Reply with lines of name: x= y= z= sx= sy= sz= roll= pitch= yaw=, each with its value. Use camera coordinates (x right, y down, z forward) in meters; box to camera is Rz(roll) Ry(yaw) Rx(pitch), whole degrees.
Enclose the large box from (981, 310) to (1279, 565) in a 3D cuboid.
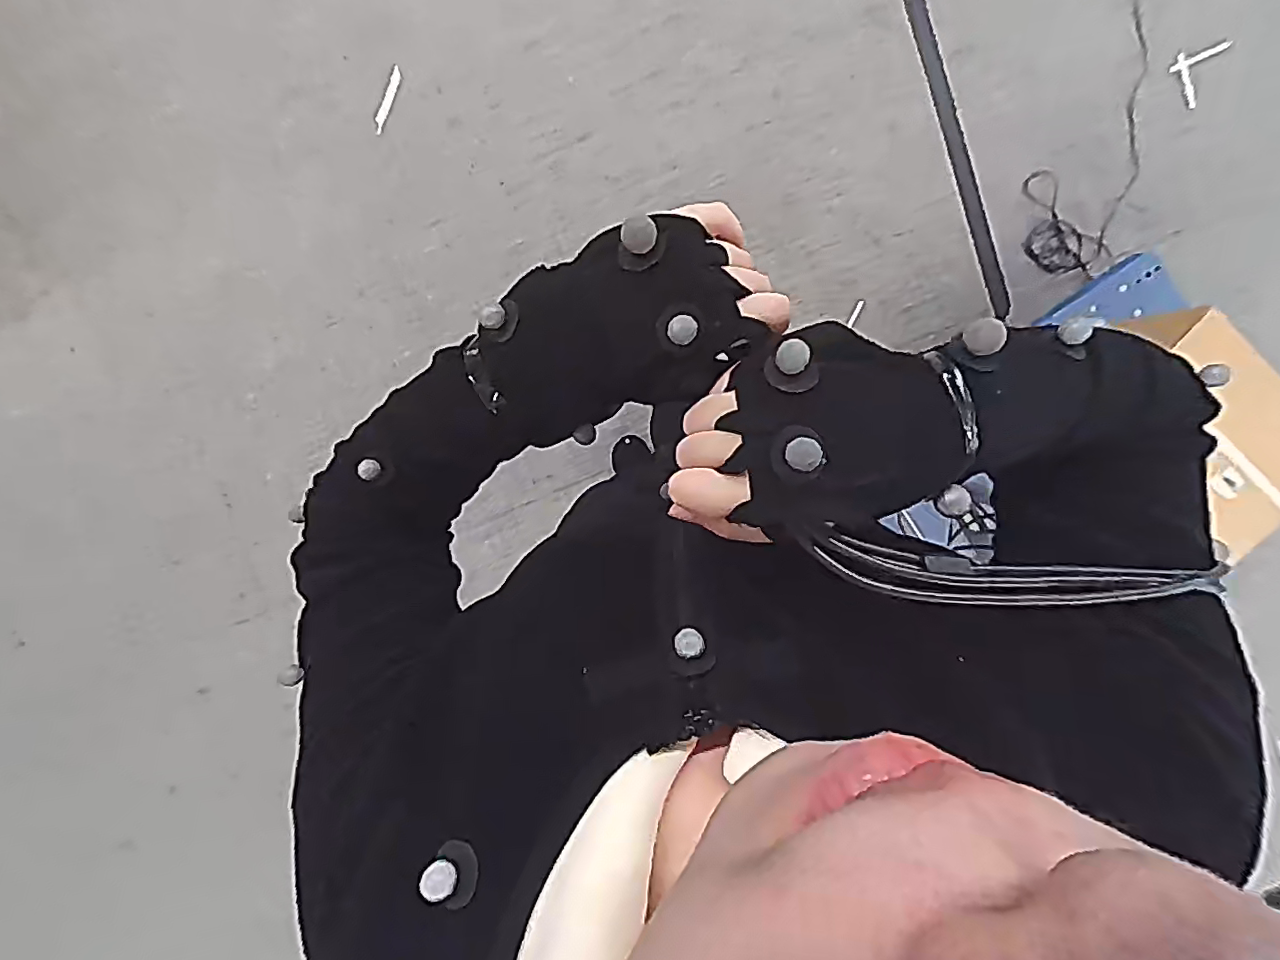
large box: x=1.063 y=-0.092 z=1.161 sx=0.408 sy=0.320 sz=0.320 roll=42 pitch=95 yaw=-6
